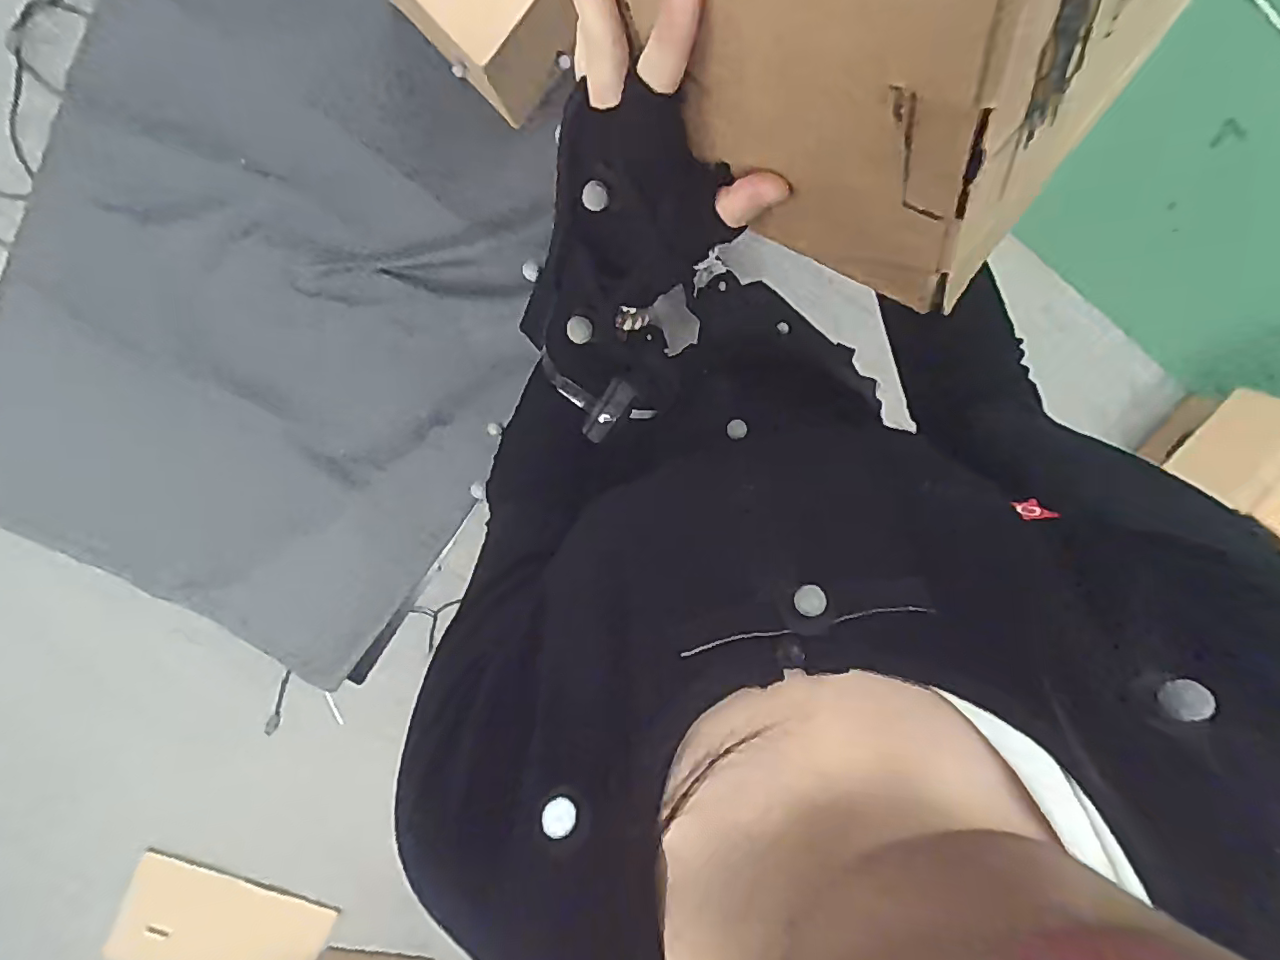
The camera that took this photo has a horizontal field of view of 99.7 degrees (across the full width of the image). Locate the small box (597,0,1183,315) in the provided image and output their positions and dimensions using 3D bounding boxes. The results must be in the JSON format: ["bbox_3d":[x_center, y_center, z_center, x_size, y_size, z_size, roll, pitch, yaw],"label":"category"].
[{"bbox_3d":[0.094,-0.207,0.208,0.176,0.168,0.179,41,92,27],"label":"small box"}]
